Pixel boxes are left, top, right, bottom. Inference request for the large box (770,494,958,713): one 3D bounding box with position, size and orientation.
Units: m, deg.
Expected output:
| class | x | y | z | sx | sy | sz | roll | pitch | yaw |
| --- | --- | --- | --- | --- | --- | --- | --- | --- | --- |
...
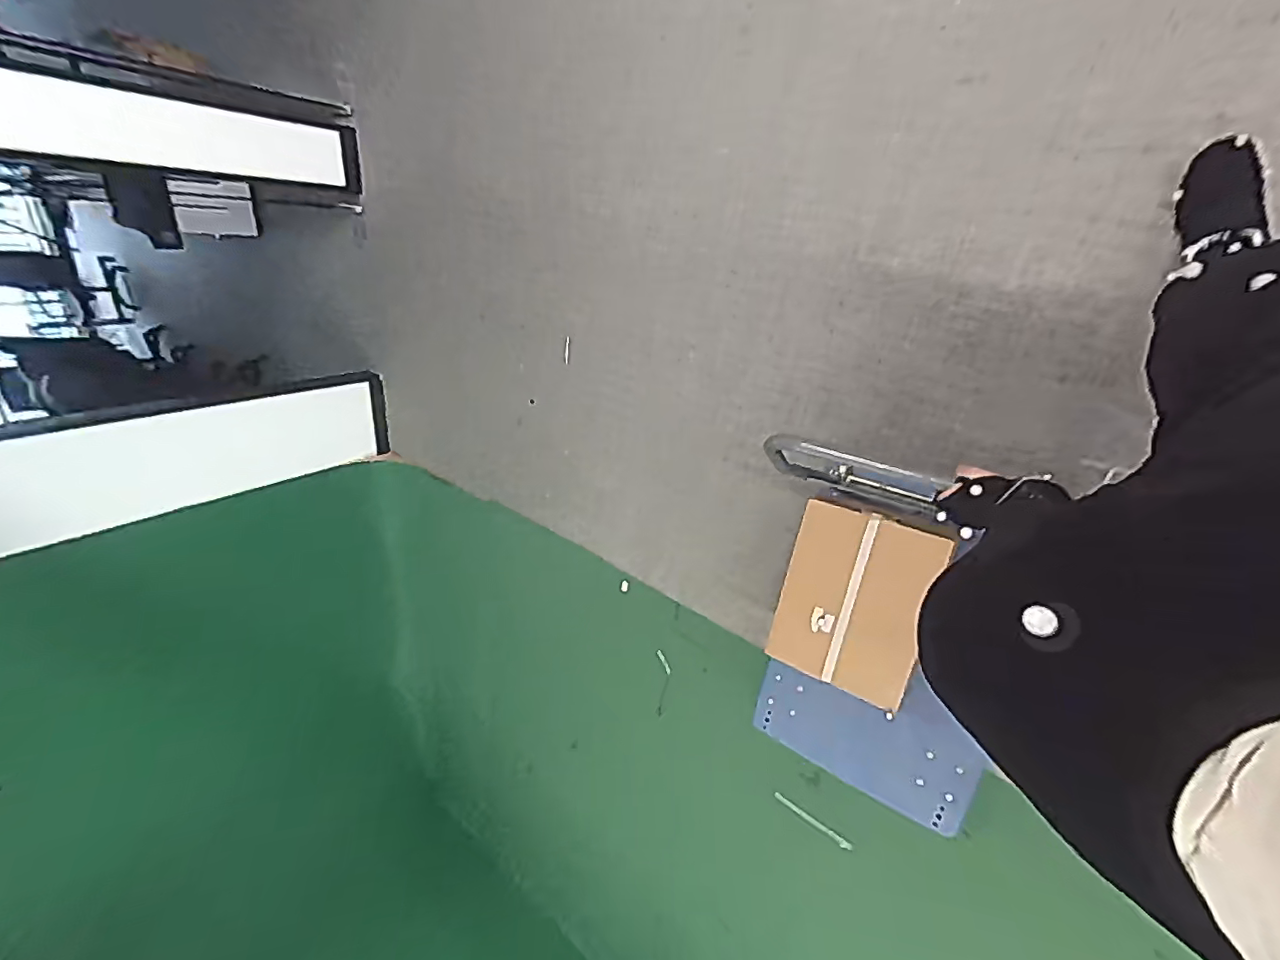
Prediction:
| class | x | y | z | sx | sy | sz | roll | pitch | yaw |
| --- | --- | --- | --- | --- | --- | --- | --- | --- | --- |
| large box | 0.558 | 0.269 | 1.333 | 0.320 | 0.320 | 0.408 | 19 | 101 | 32 |
